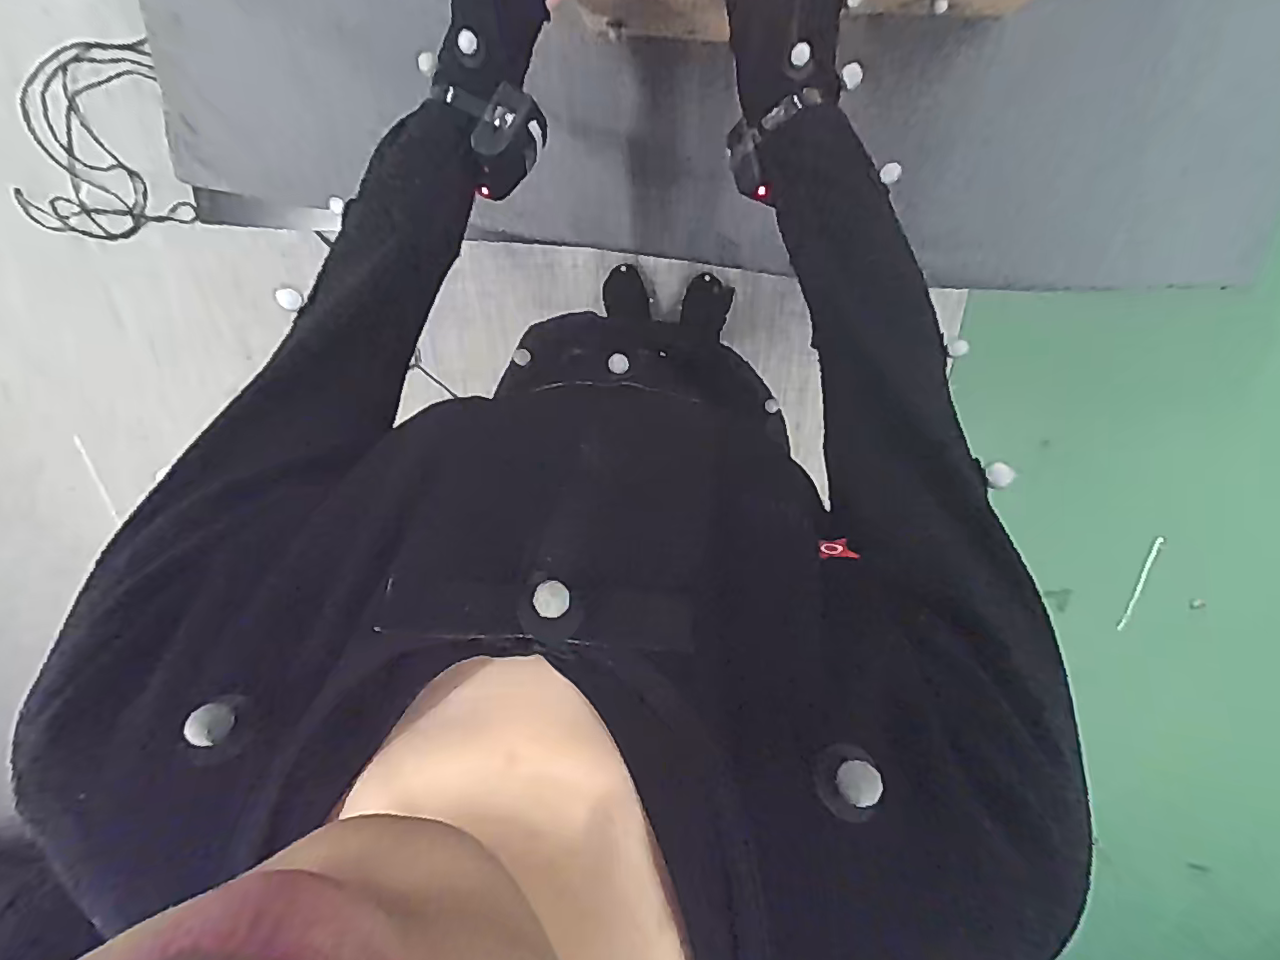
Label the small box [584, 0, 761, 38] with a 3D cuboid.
[{"bbox_3d":[0.031,-0.492,0.437,0.168,0.176,0.179,7,114,3],"label":"small box"}]

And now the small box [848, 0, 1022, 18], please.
[{"bbox_3d":[0.266,-0.494,0.410,0.168,0.176,0.179,5,115,5],"label":"small box"}]
